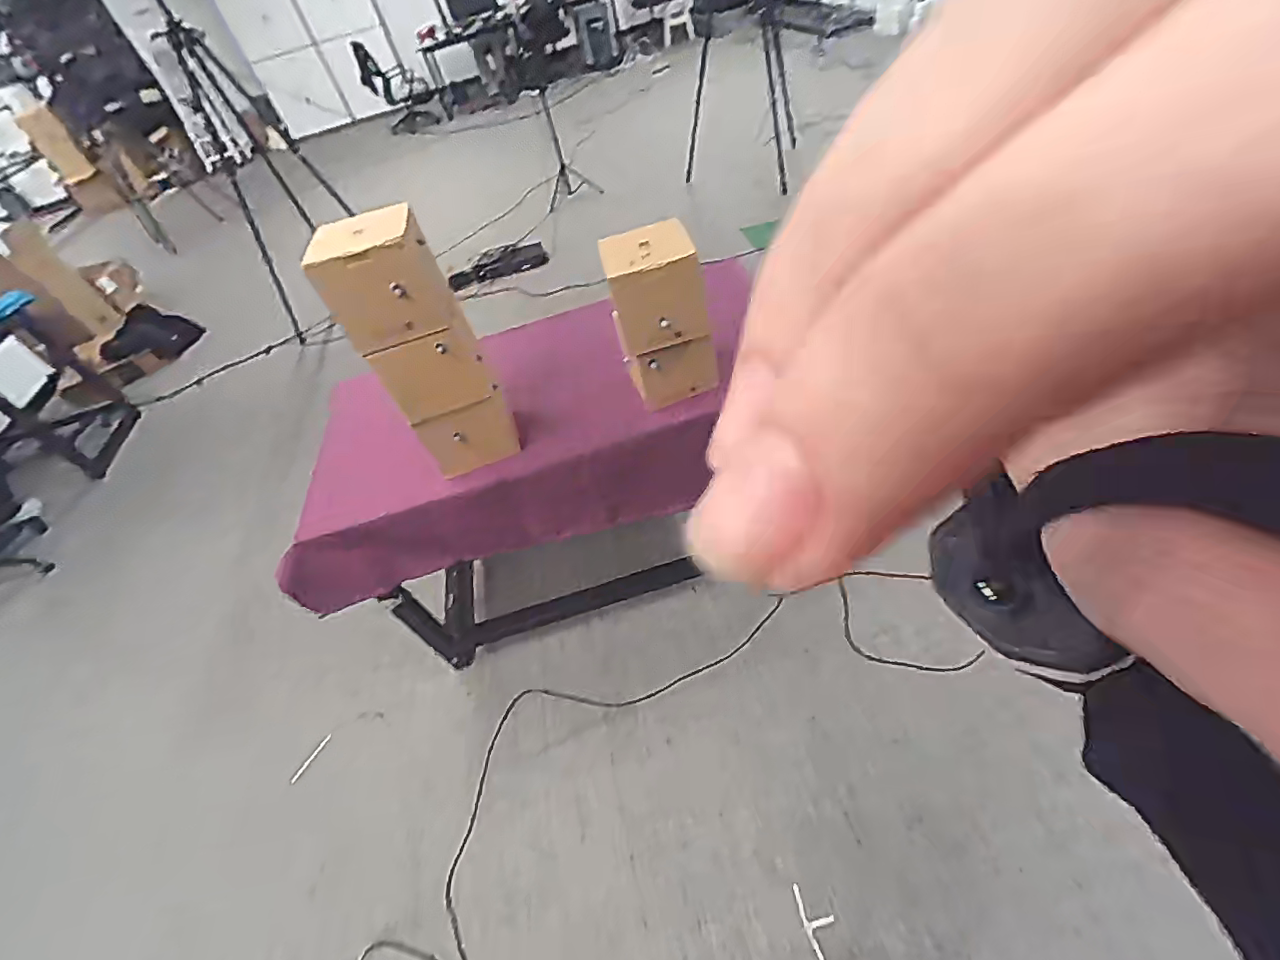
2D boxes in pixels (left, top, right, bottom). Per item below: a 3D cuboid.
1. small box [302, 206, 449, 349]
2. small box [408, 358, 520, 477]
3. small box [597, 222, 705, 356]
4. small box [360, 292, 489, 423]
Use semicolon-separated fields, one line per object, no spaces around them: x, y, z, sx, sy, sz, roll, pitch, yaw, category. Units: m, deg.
-0.450;-0.349;0.953;0.168;0.176;0.179;-17;45;-2;small box
-0.384;-0.134;1.188;0.179;0.176;0.168;-20;46;-2;small box
0.022;-0.372;1.059;0.168;0.176;0.179;-16;46;2;small box
-0.418;-0.238;1.067;0.179;0.176;0.168;-19;45;-3;small box
